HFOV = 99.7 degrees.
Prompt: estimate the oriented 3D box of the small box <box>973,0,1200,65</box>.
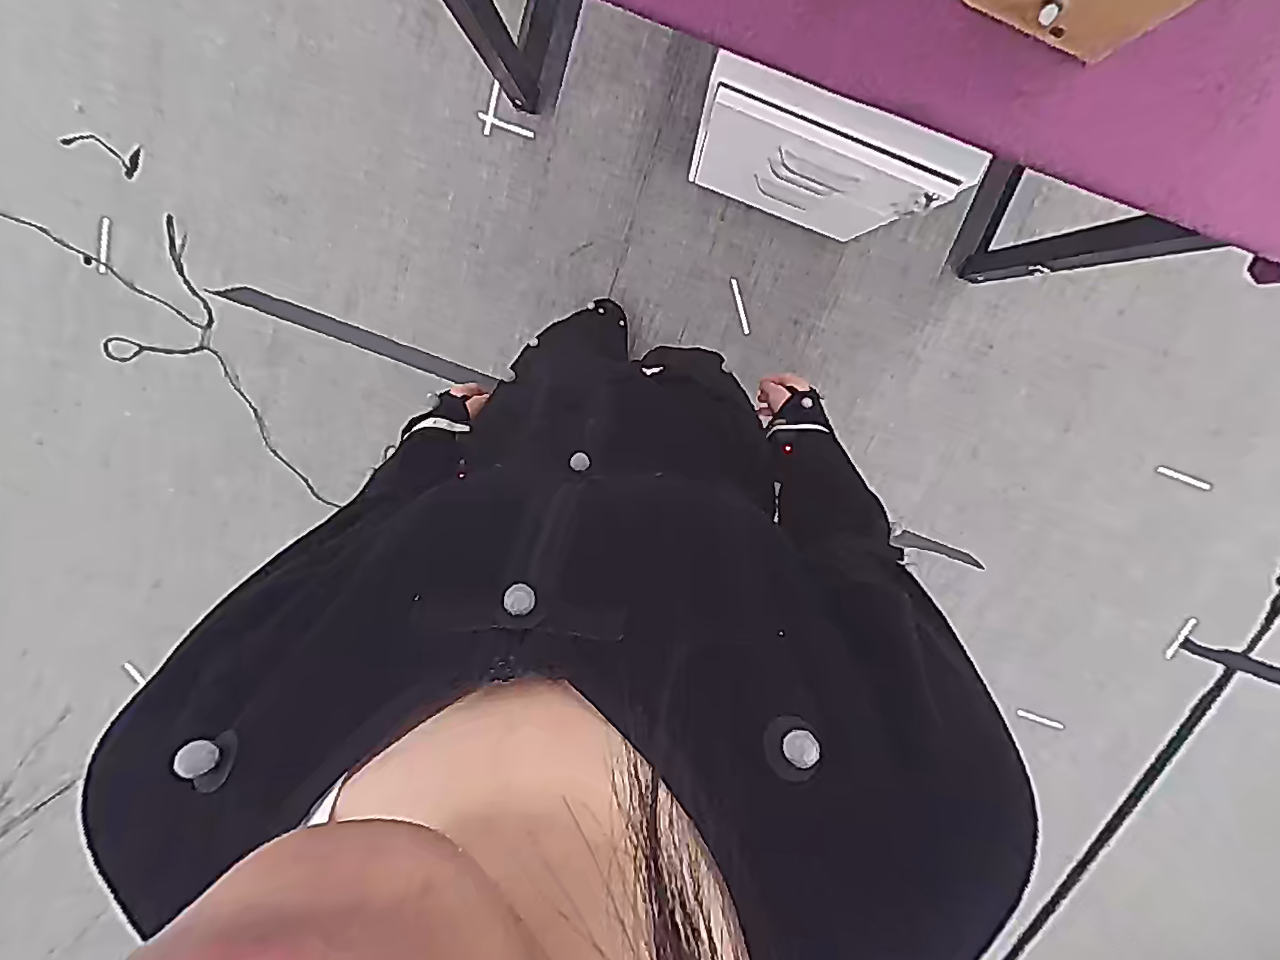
[{"bbox_3d":[0.447,-0.534,0.485,0.168,0.176,0.179,22,104,-3],"label":"small box"}]
